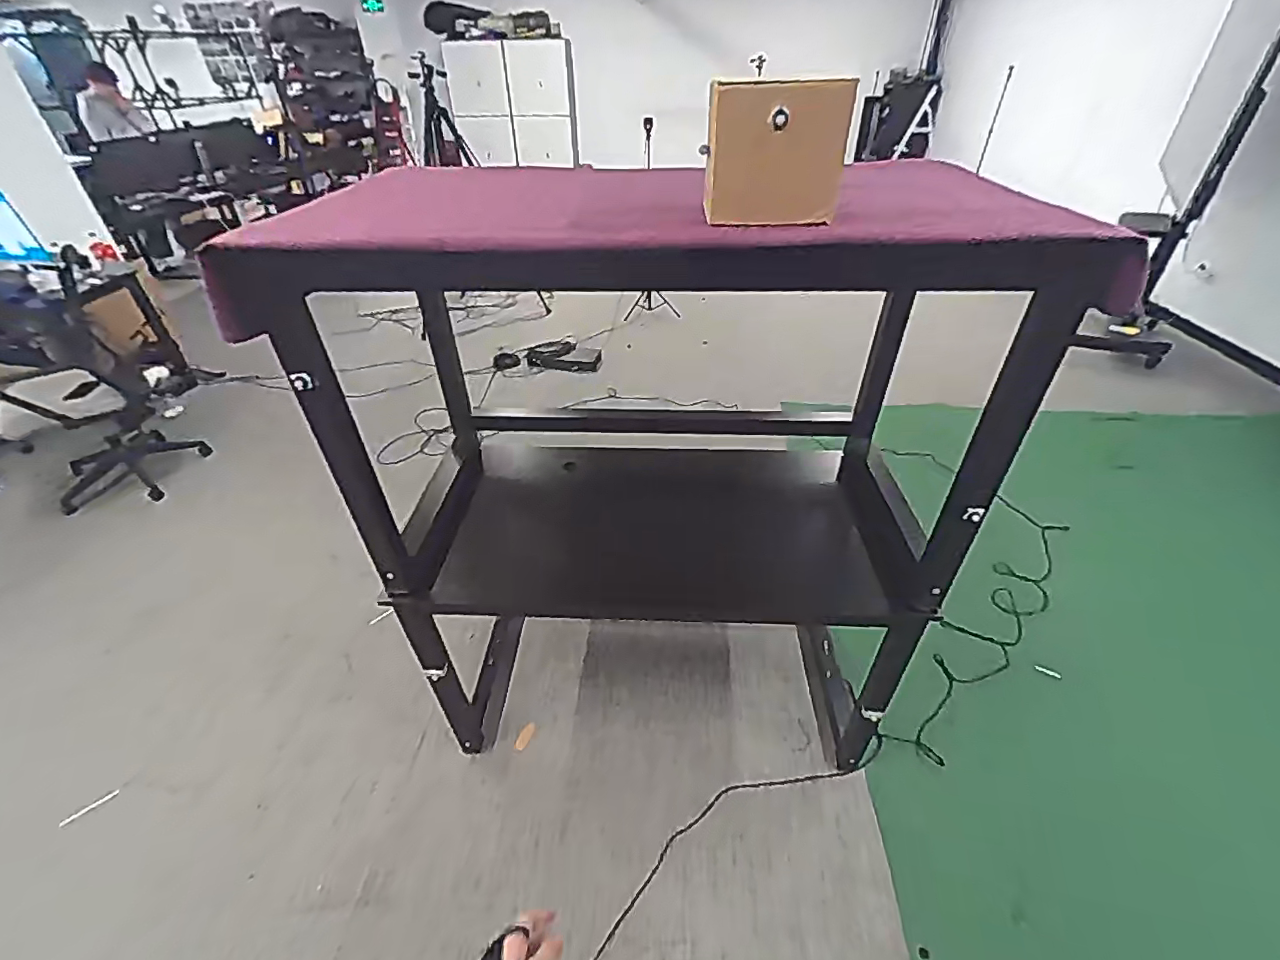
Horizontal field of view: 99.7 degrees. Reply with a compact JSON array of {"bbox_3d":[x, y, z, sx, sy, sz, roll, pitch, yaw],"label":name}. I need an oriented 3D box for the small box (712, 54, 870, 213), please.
[{"bbox_3d":[0.190,-0.474,0.742,0.179,0.176,0.168,3,38,4],"label":"small box"}]
